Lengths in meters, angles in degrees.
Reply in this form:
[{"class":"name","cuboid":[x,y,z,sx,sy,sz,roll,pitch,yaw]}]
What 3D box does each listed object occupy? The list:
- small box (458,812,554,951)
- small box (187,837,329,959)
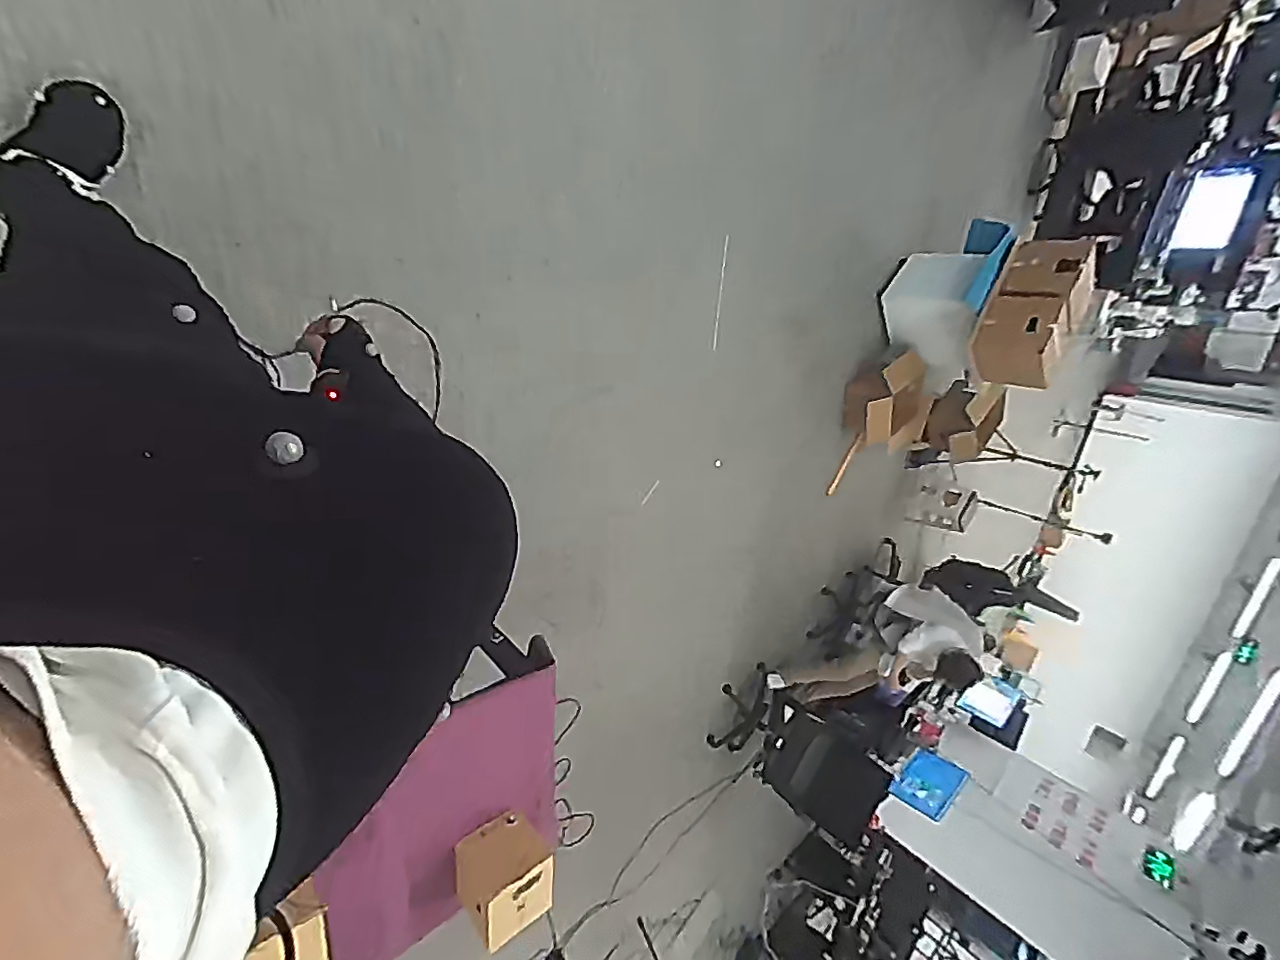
[{"class":"small box","cuboid":[-0.320,0.932,1.281,0.168,0.176,0.179,-12,115,-40]},{"class":"small box","cuboid":[-0.633,0.754,0.900,0.168,0.176,0.179,-11,116,-41]}]
